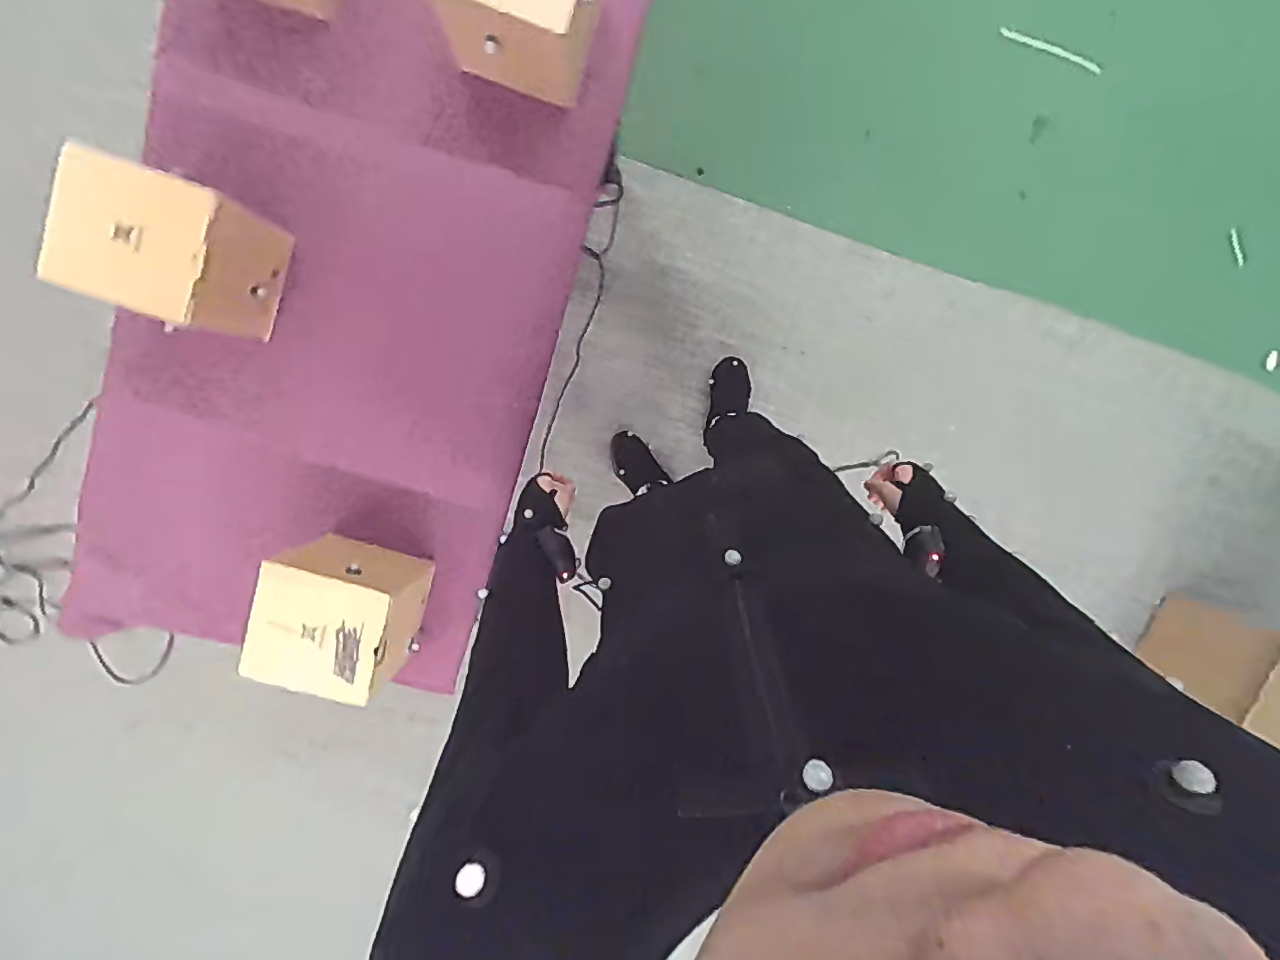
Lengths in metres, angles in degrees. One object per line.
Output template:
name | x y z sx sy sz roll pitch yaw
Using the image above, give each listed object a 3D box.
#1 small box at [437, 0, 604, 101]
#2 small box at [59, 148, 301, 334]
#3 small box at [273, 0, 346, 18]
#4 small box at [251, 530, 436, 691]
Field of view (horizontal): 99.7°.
small box | -0.154 -0.647 0.714 0.179 0.176 0.168 17 98 -4
small box | -0.620 -0.313 0.751 0.179 0.176 0.168 18 96 -6
small box | -0.494 -0.747 0.690 0.179 0.176 0.168 15 100 -4
small box | -0.435 0.186 0.822 0.179 0.176 0.168 16 97 -2
